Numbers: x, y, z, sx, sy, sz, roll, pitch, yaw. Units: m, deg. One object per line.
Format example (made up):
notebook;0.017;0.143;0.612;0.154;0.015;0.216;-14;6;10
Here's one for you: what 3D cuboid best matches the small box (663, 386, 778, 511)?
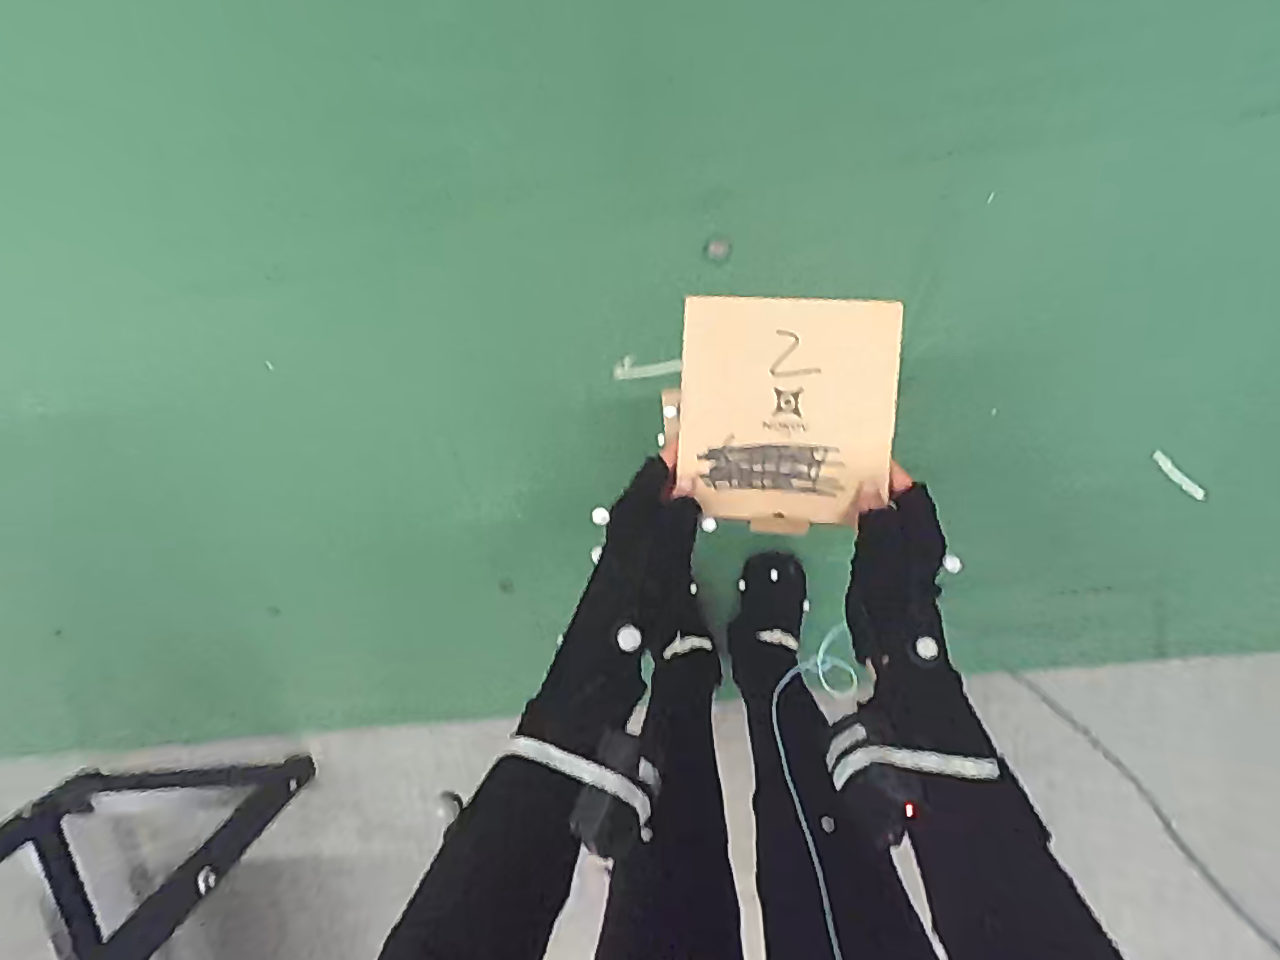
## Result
small box;0.129;-0.058;0.885;0.168;0.176;0.179;-5;100;5
